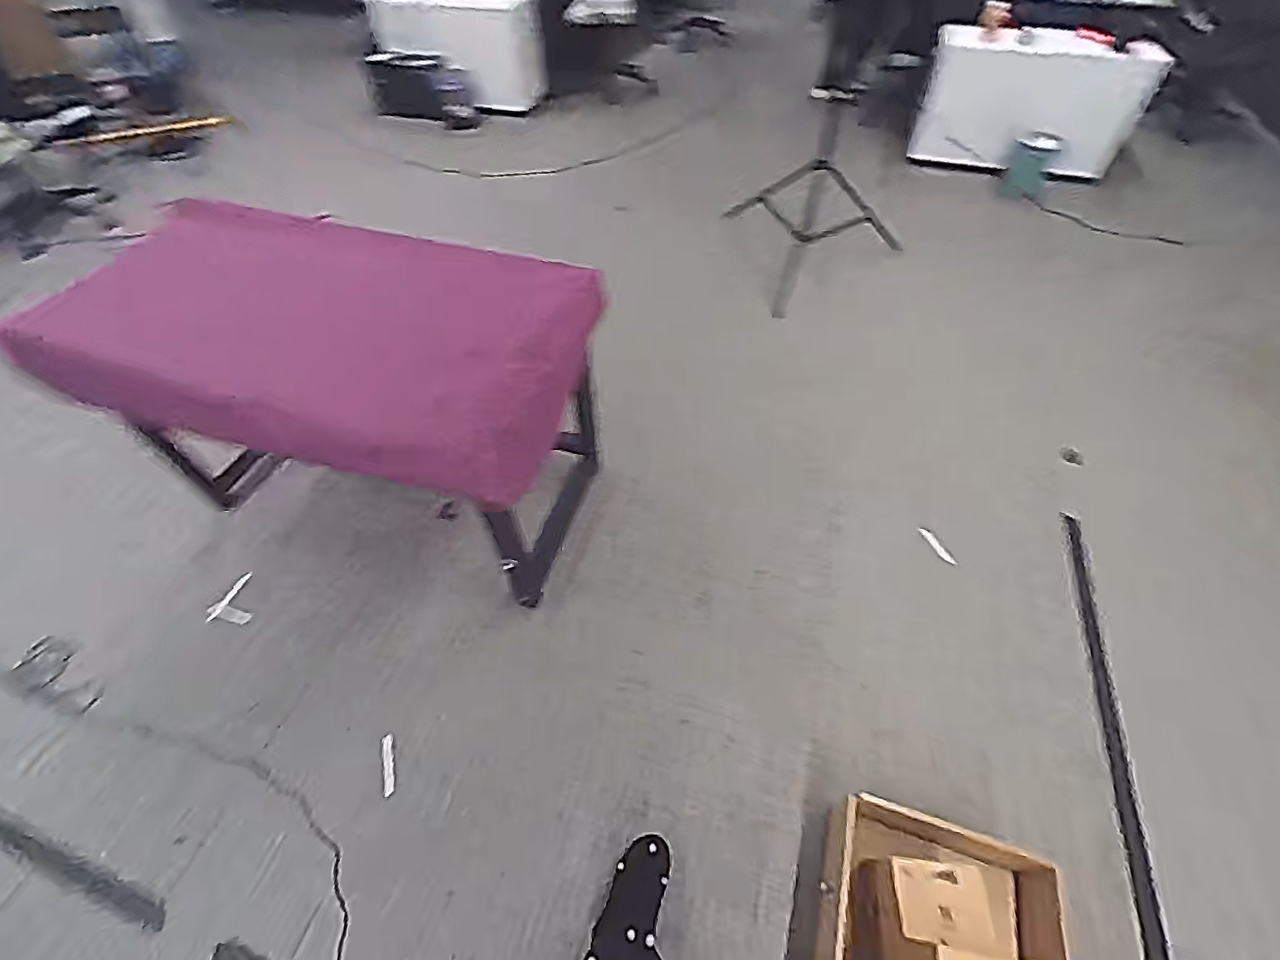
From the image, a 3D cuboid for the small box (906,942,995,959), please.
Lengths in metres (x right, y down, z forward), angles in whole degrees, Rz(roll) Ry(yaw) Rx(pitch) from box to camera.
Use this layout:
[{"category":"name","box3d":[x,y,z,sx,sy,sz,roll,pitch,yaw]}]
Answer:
[{"category":"small box","box3d":[0.529,0.841,0.834,0.179,0.176,0.168,9,54,7]}]
